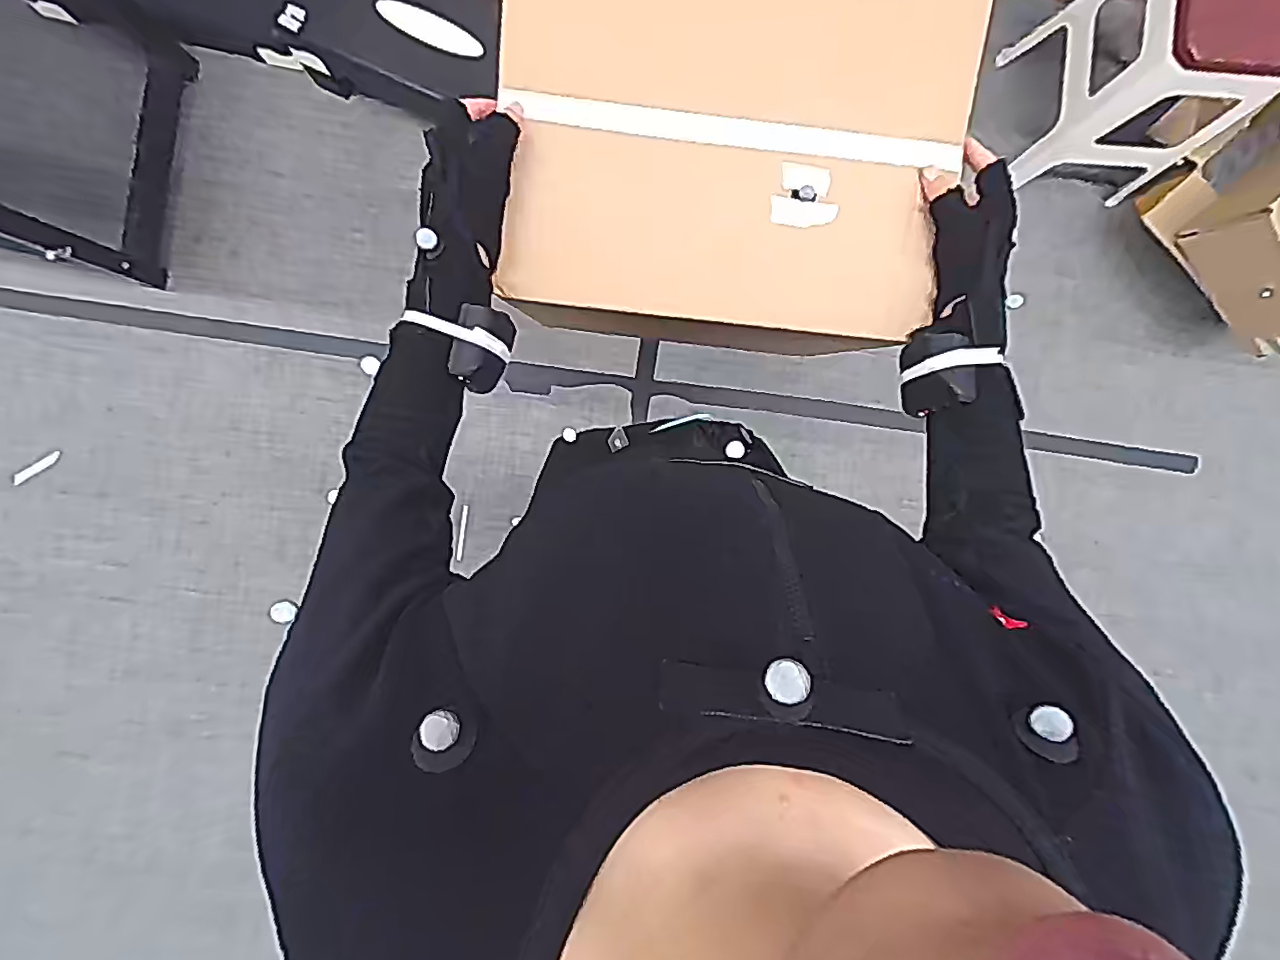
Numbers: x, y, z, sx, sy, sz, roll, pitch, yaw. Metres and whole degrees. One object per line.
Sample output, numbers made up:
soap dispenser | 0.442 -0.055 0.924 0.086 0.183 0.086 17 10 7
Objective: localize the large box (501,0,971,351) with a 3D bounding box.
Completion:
large box | 0.072 -0.331 0.630 0.408 0.320 0.320 5 101 -4
